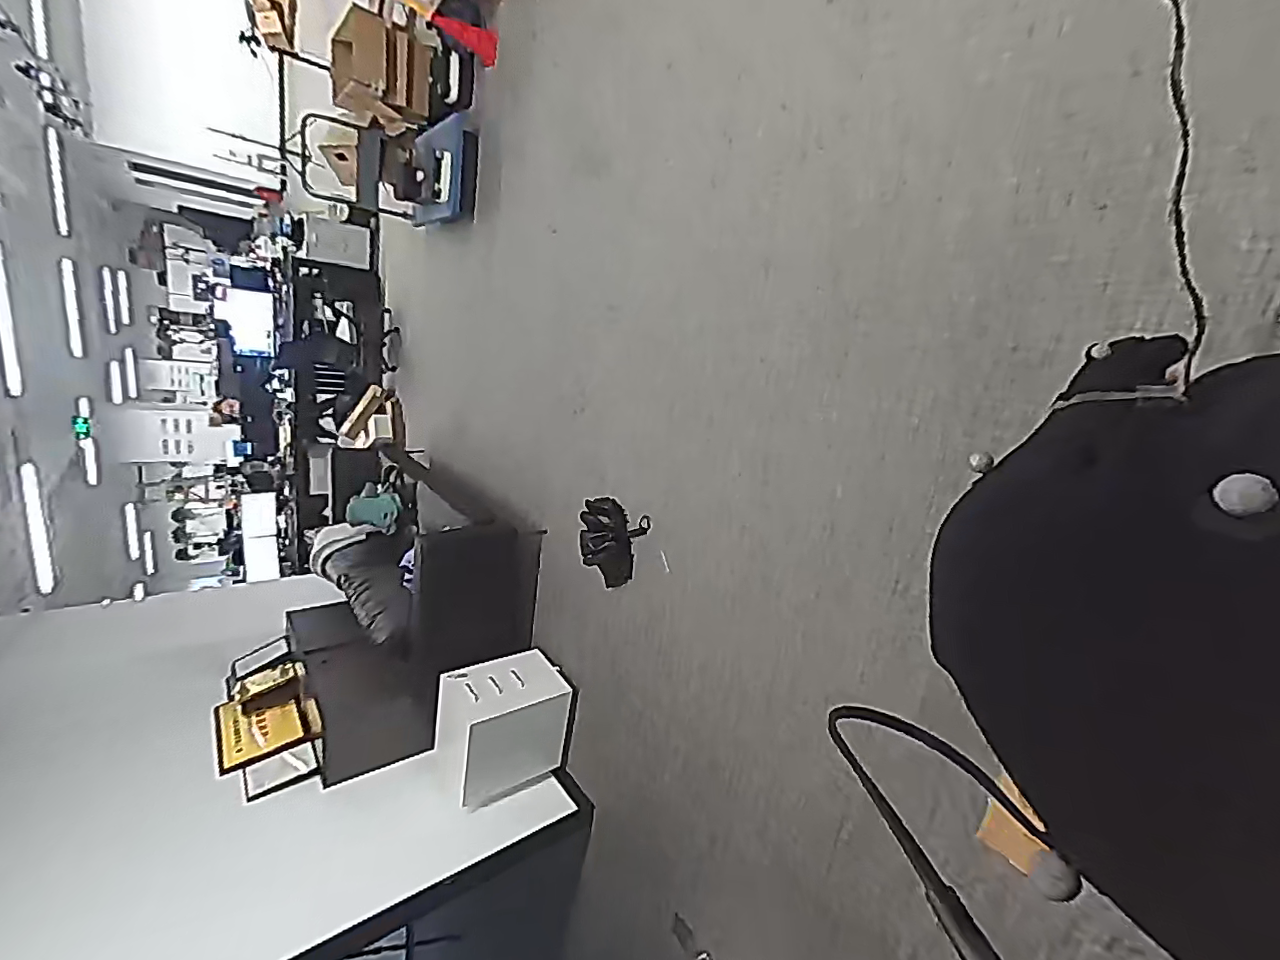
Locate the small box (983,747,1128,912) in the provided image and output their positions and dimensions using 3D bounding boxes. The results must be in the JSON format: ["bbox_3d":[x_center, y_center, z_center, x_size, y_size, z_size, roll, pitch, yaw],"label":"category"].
[{"bbox_3d":[0.811,0.667,1.054,0.168,0.176,0.179,24,111,46],"label":"small box"}]
